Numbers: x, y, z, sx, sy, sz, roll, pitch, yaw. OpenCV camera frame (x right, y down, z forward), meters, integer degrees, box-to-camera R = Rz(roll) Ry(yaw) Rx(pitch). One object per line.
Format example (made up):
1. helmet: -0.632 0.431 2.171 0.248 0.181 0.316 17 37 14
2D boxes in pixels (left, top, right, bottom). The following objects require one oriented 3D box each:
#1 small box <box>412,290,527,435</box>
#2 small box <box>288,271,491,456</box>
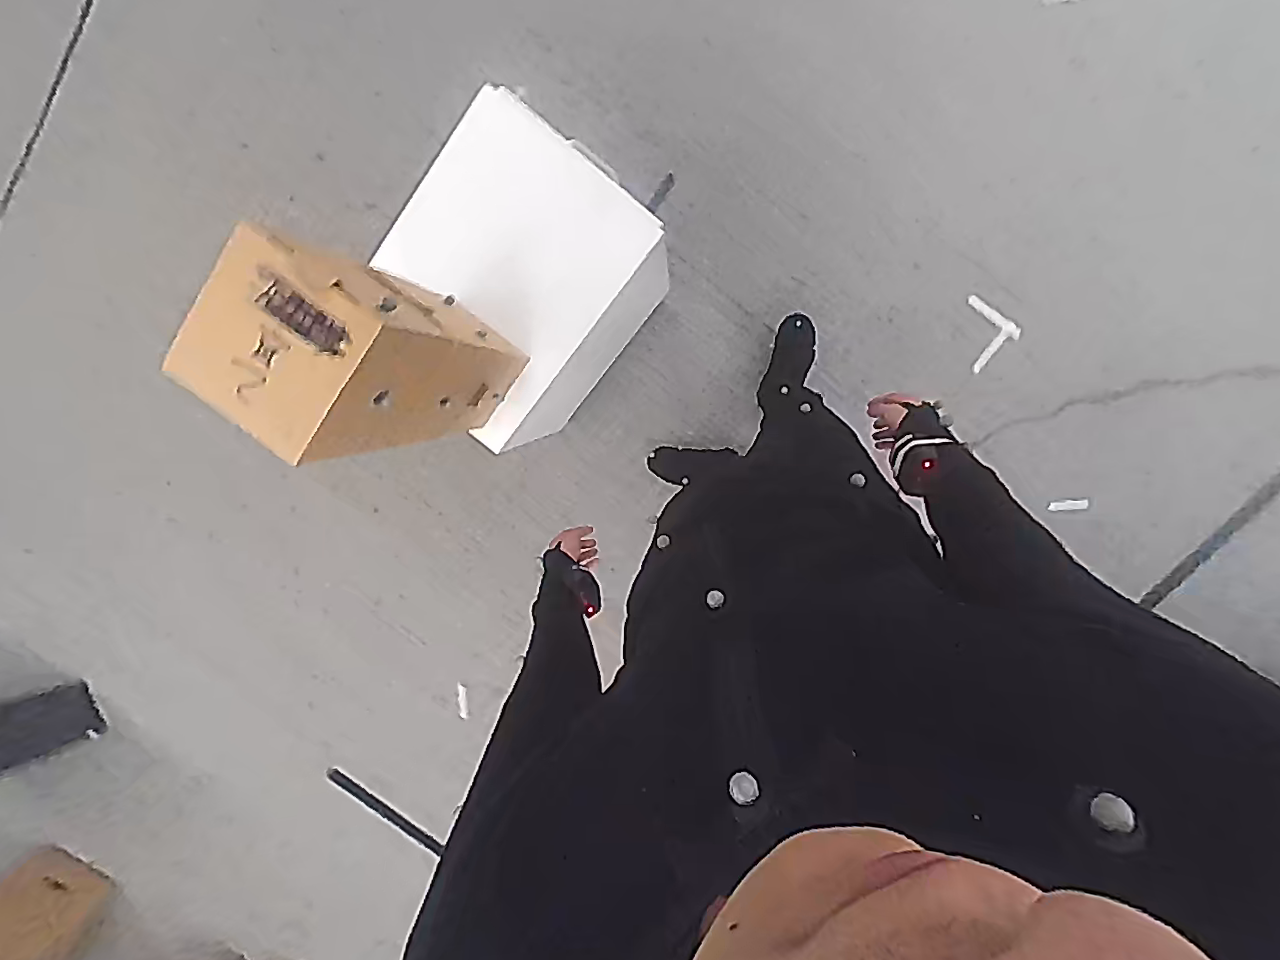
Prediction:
1. small box: -0.325 -0.193 0.928 0.179 0.176 0.168 37 101 -2
2. small box: -0.336 -0.160 0.767 0.168 0.176 0.179 38 101 -2
